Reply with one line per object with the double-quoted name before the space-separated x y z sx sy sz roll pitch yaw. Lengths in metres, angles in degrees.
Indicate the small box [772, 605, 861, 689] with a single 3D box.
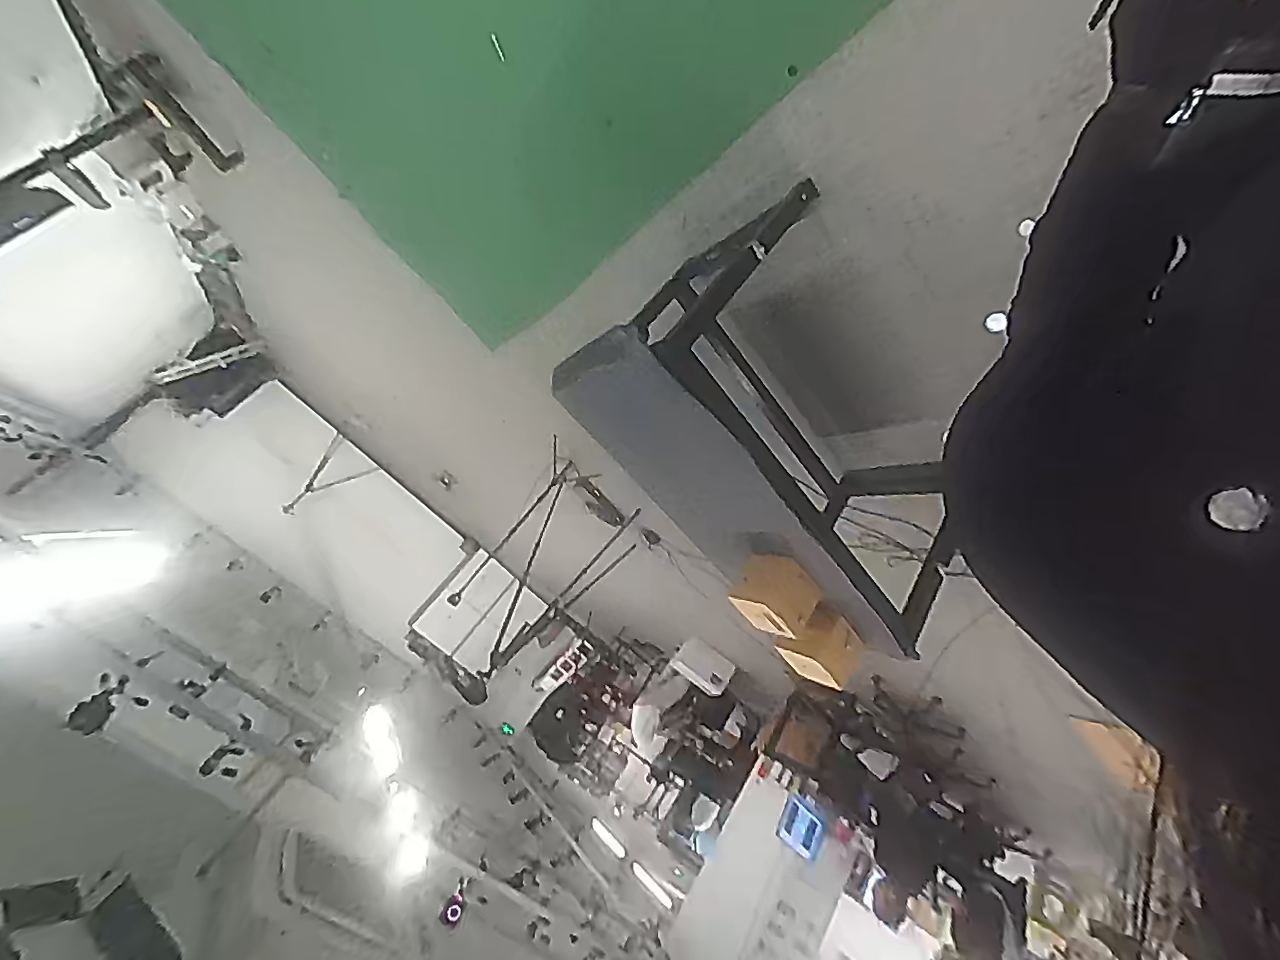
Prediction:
"small box" 0.560 0.519 1.709 0.168 0.176 0.179 48 156 -22
